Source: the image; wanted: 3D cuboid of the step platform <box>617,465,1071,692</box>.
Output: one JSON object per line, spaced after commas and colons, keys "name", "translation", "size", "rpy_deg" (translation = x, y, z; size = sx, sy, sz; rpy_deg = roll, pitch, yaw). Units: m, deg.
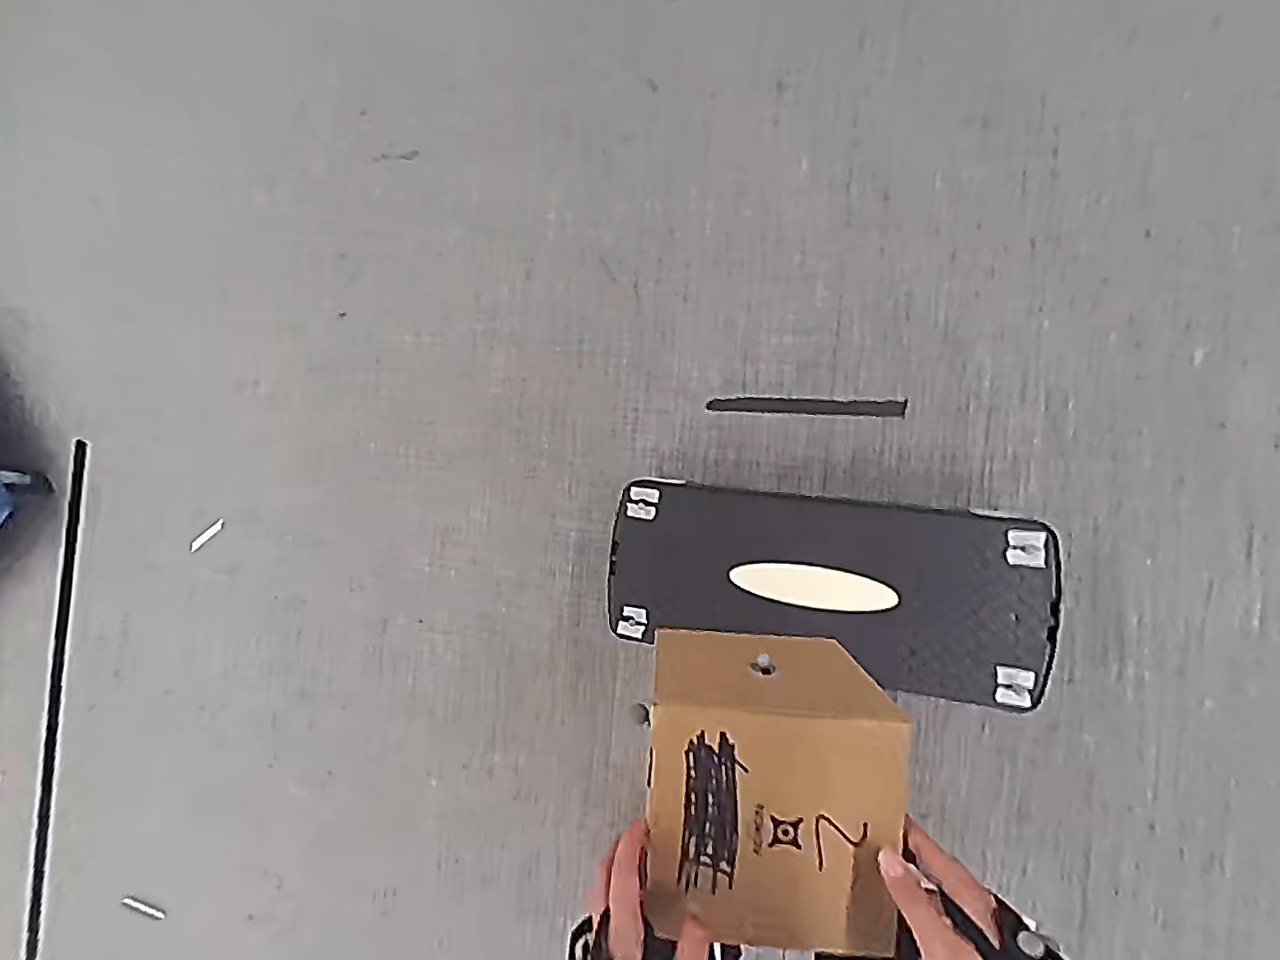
{"name": "step platform", "translation": [0.302, 0.142, 0.919], "size": [0.684, 0.204, 0.286], "rpy_deg": [5, 89, 16]}
